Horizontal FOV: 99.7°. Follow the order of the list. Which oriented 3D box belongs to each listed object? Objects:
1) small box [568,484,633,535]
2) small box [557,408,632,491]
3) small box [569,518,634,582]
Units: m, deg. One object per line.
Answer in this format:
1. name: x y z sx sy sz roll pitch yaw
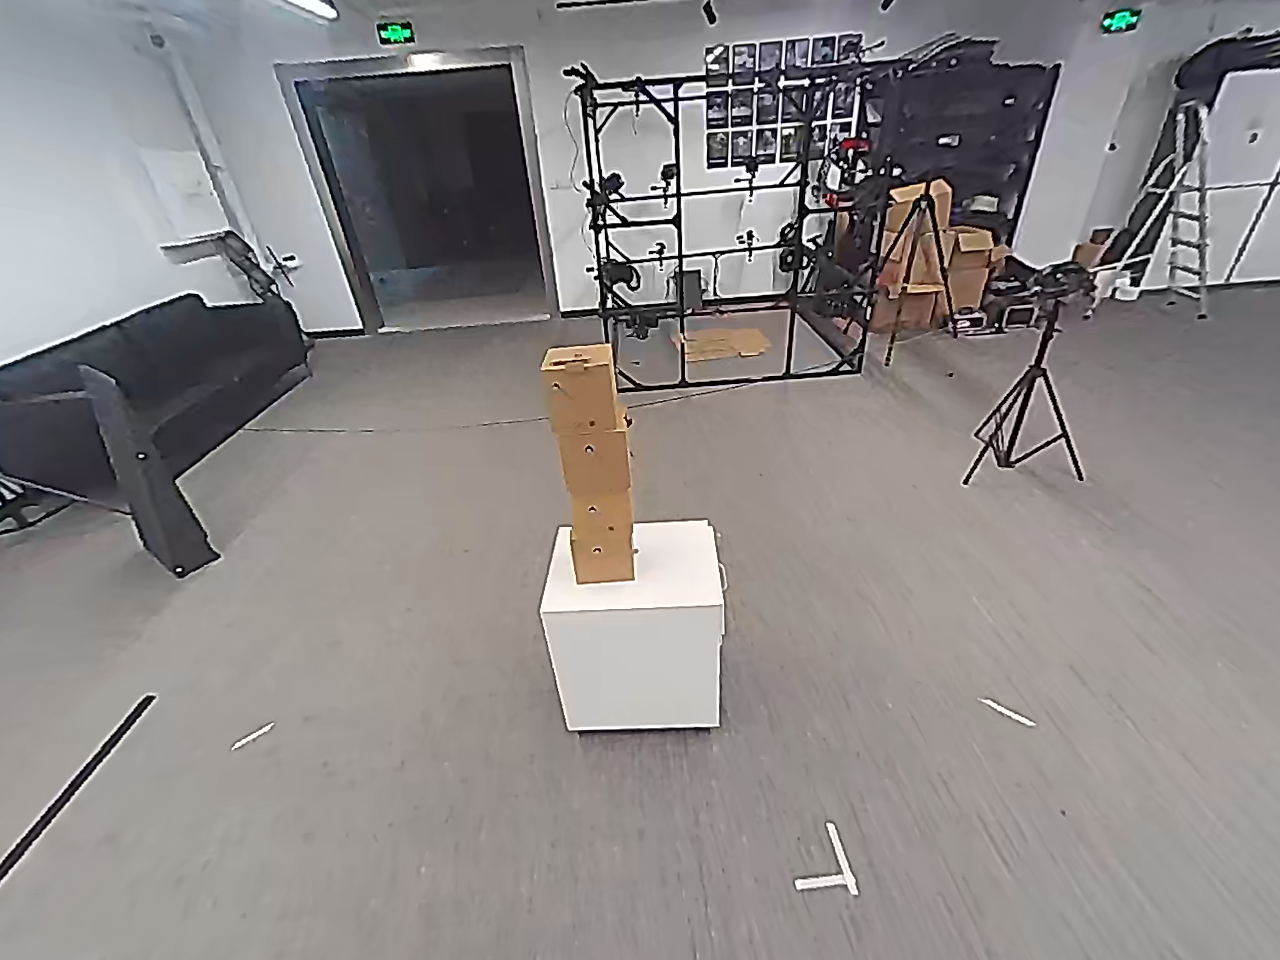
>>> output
1. small box: -0.108 0.049 1.557 0.168 0.176 0.179 -3 31 1
2. small box: -0.116 -0.082 1.456 0.179 0.176 0.168 -3 32 1
3. small box: -0.111 0.194 1.631 0.179 0.176 0.168 -3 32 0
